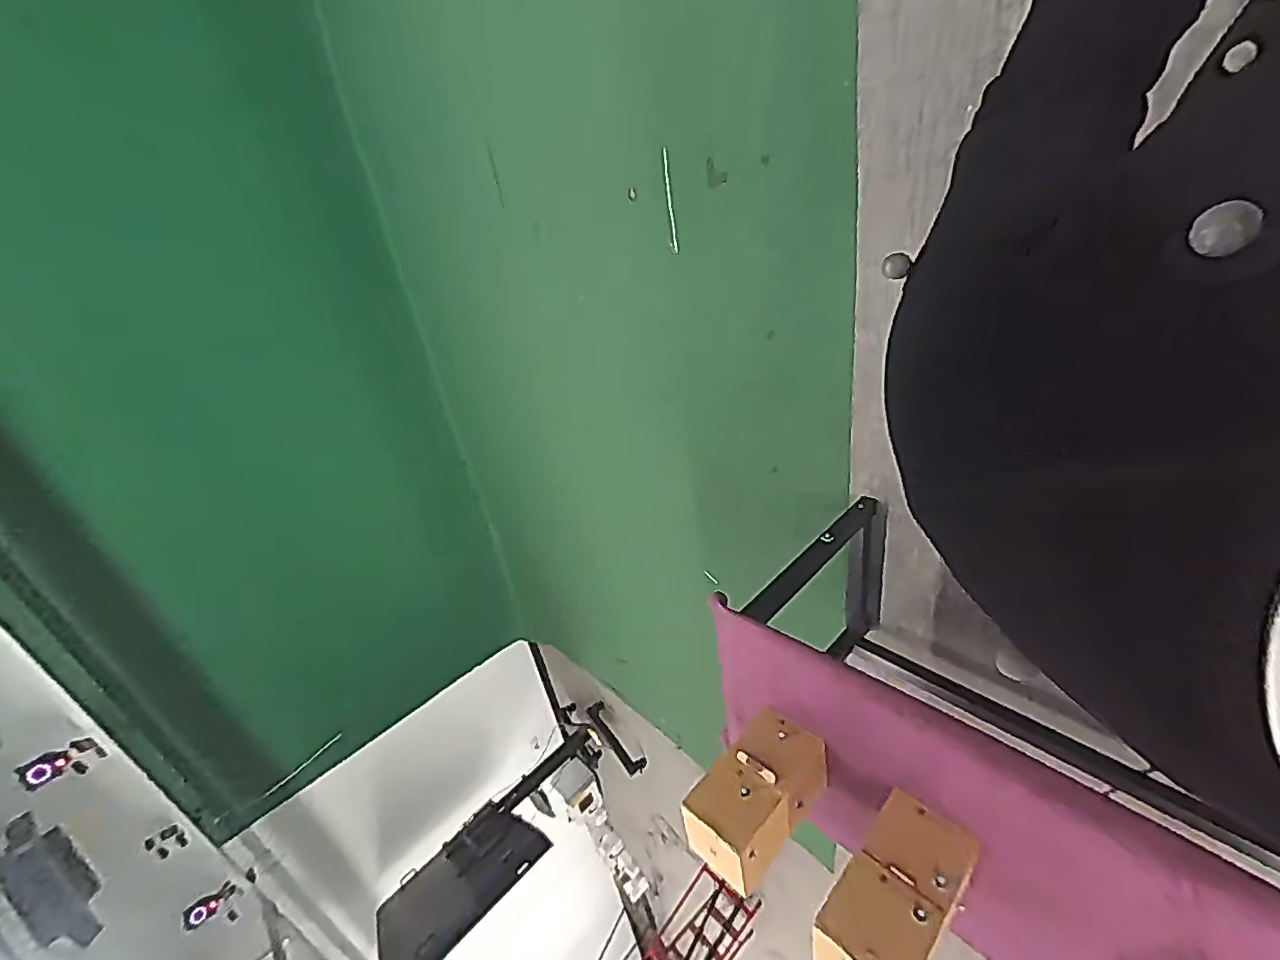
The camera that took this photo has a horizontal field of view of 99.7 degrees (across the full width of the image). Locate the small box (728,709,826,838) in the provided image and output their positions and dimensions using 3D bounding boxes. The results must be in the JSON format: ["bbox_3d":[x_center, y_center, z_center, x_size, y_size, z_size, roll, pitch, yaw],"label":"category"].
[{"bbox_3d":[0.337,0.702,1.310,0.168,0.176,0.179,17,128,44],"label":"small box"}]

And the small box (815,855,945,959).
[{"bbox_3d":[0.440,0.848,0.996,0.168,0.176,0.179,21,133,43],"label":"small box"}]

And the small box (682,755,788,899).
[{"bbox_3d":[0.220,0.775,1.223,0.168,0.176,0.179,18,128,44],"label":"small box"}]
